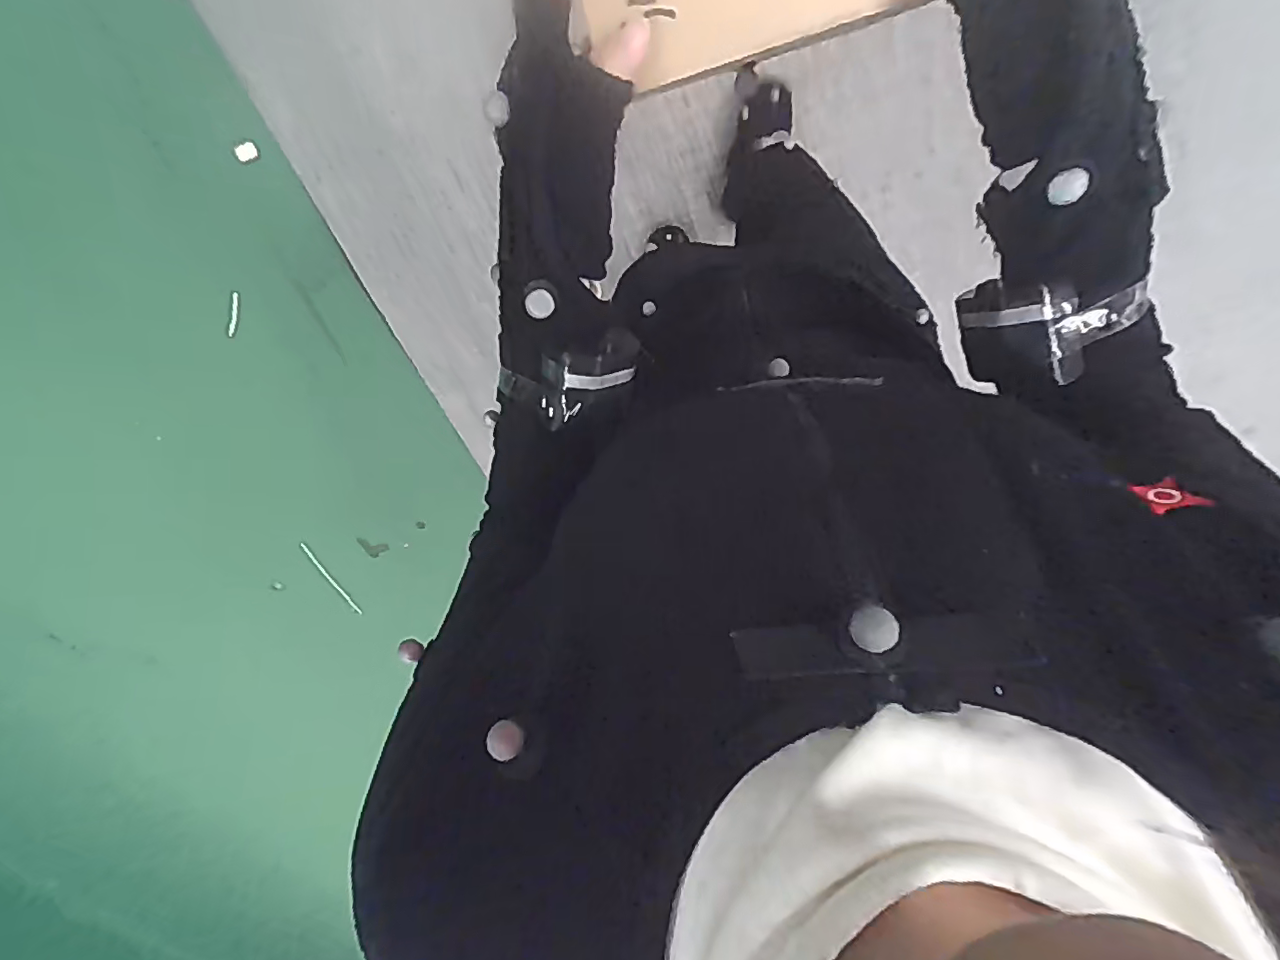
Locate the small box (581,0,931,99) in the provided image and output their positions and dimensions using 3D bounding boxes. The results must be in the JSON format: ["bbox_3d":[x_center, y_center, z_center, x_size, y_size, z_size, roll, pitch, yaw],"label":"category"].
[{"bbox_3d":[0.045,-0.310,0.267,0.179,0.176,0.168,-12,123,8],"label":"small box"}]
